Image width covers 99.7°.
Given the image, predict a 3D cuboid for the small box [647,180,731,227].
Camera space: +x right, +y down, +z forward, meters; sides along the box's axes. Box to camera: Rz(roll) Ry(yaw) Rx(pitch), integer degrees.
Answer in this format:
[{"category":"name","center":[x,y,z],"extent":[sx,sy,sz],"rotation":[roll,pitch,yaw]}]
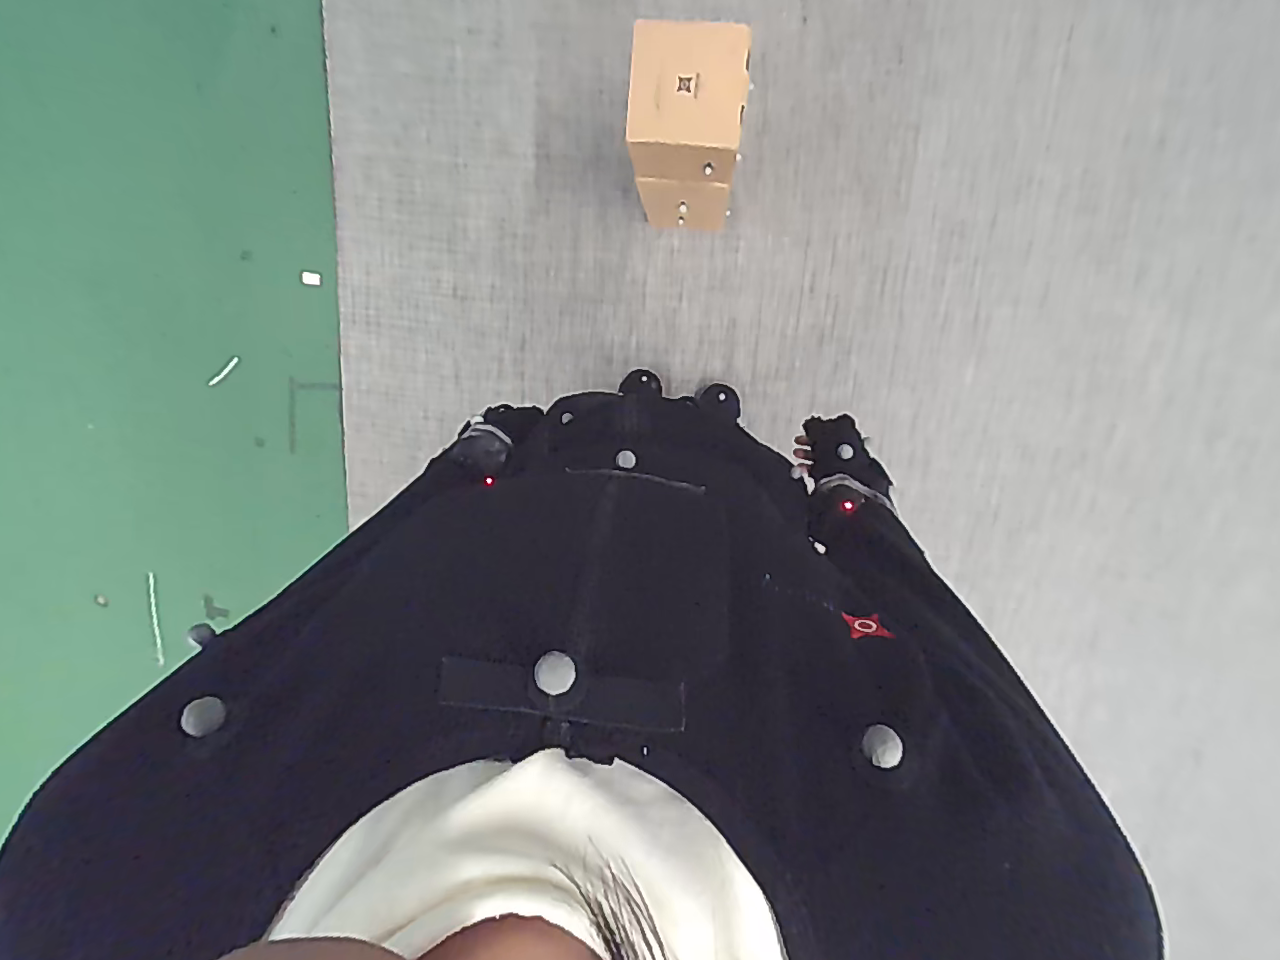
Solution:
[{"category":"small box","center":[0.110,-0.672,1.205],"extent":[0.179,0.176,0.168],"rotation":[3,103,5]}]

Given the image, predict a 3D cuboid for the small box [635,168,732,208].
[{"category":"small box","center":[0.091,-0.639,1.046],"extent":[0.179,0.176,0.168],"rotation":[7,103,4]}]

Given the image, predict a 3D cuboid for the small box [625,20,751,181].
[{"category":"small box","center":[0.078,-0.608,0.887],"extent":[0.179,0.176,0.168],"rotation":[6,102,6]}]
